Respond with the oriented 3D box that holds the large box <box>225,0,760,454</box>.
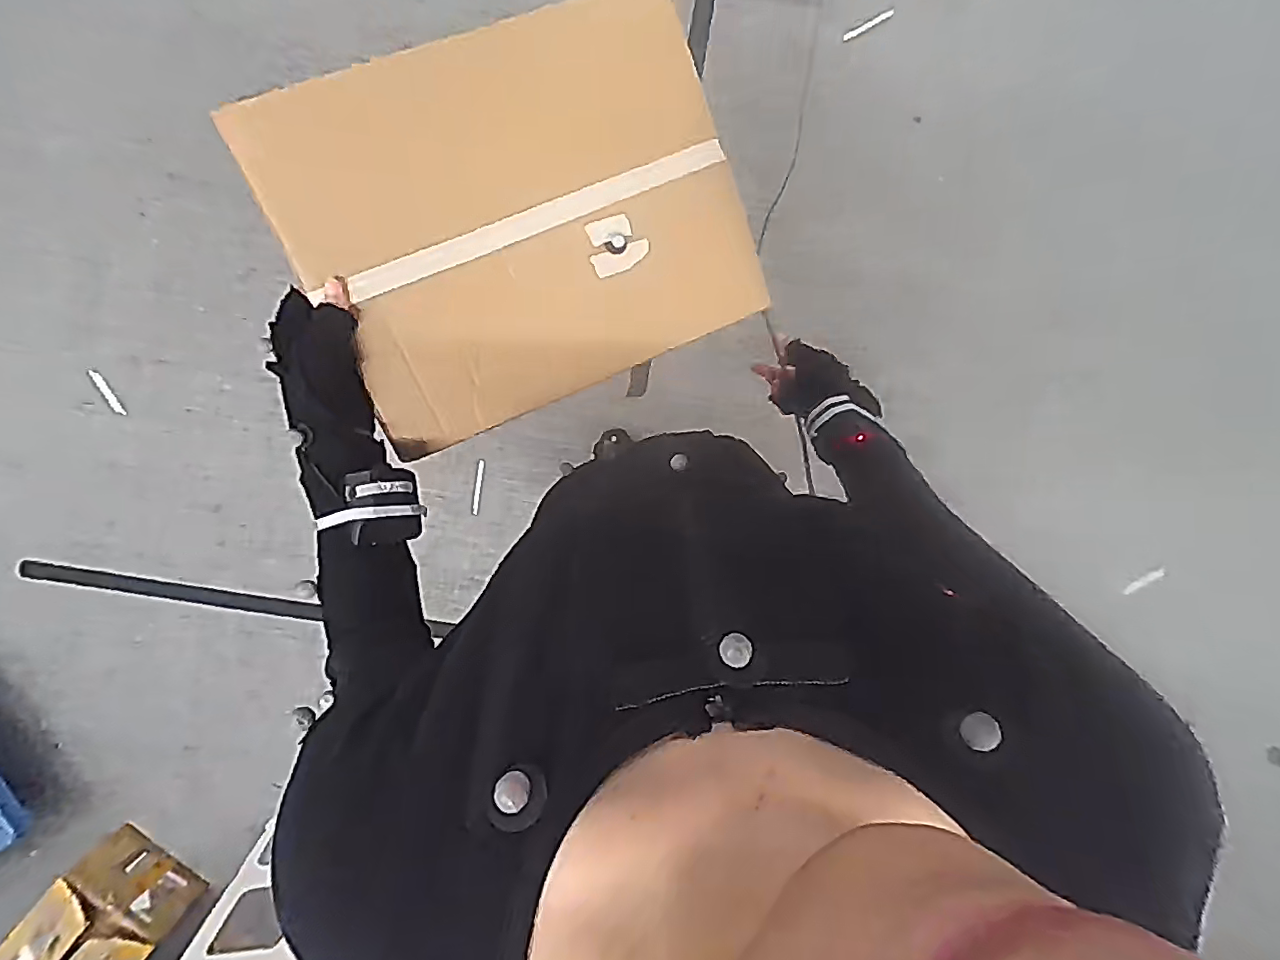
[{"bbox_3d":[-0.143,-0.265,0.645,0.408,0.320,0.320,-26,105,-9],"label":"large box"}]
